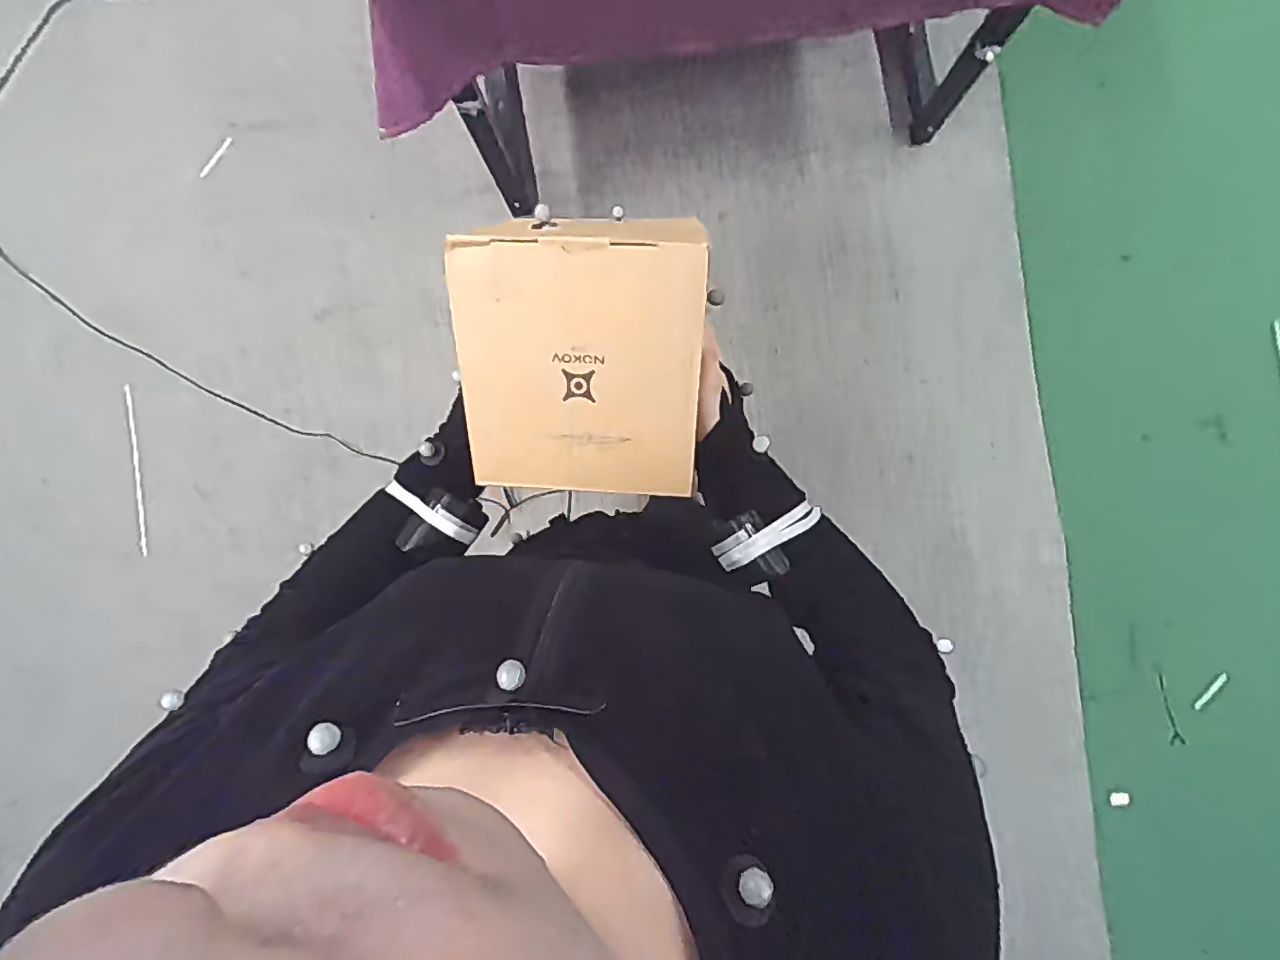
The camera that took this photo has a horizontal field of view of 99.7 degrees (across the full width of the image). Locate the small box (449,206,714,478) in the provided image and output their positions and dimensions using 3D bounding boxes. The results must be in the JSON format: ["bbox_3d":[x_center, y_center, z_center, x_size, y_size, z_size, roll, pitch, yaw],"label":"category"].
[{"bbox_3d":[-0.034,-0.120,0.436,0.168,0.176,0.179,4,119,3],"label":"small box"}]
